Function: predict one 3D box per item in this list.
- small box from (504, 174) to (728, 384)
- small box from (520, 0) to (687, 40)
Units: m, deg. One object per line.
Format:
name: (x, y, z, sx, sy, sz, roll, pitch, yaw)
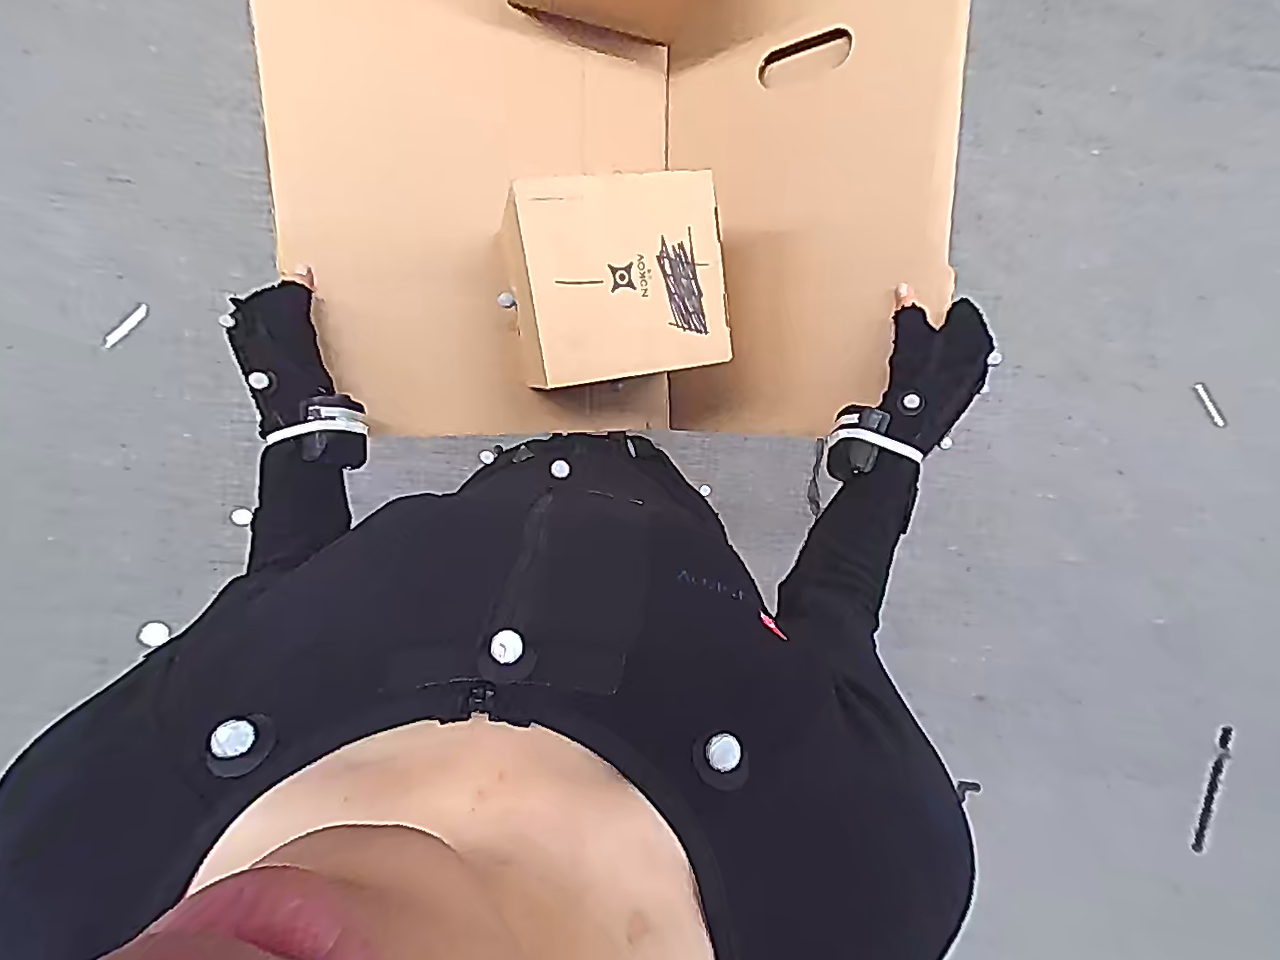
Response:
small box: (-0.032, -0.191, 0.546, 0.179, 0.176, 0.168, -11, 103, -15)
small box: (-0.023, -0.546, 0.485, 0.179, 0.176, 0.168, 0, 100, -19)
